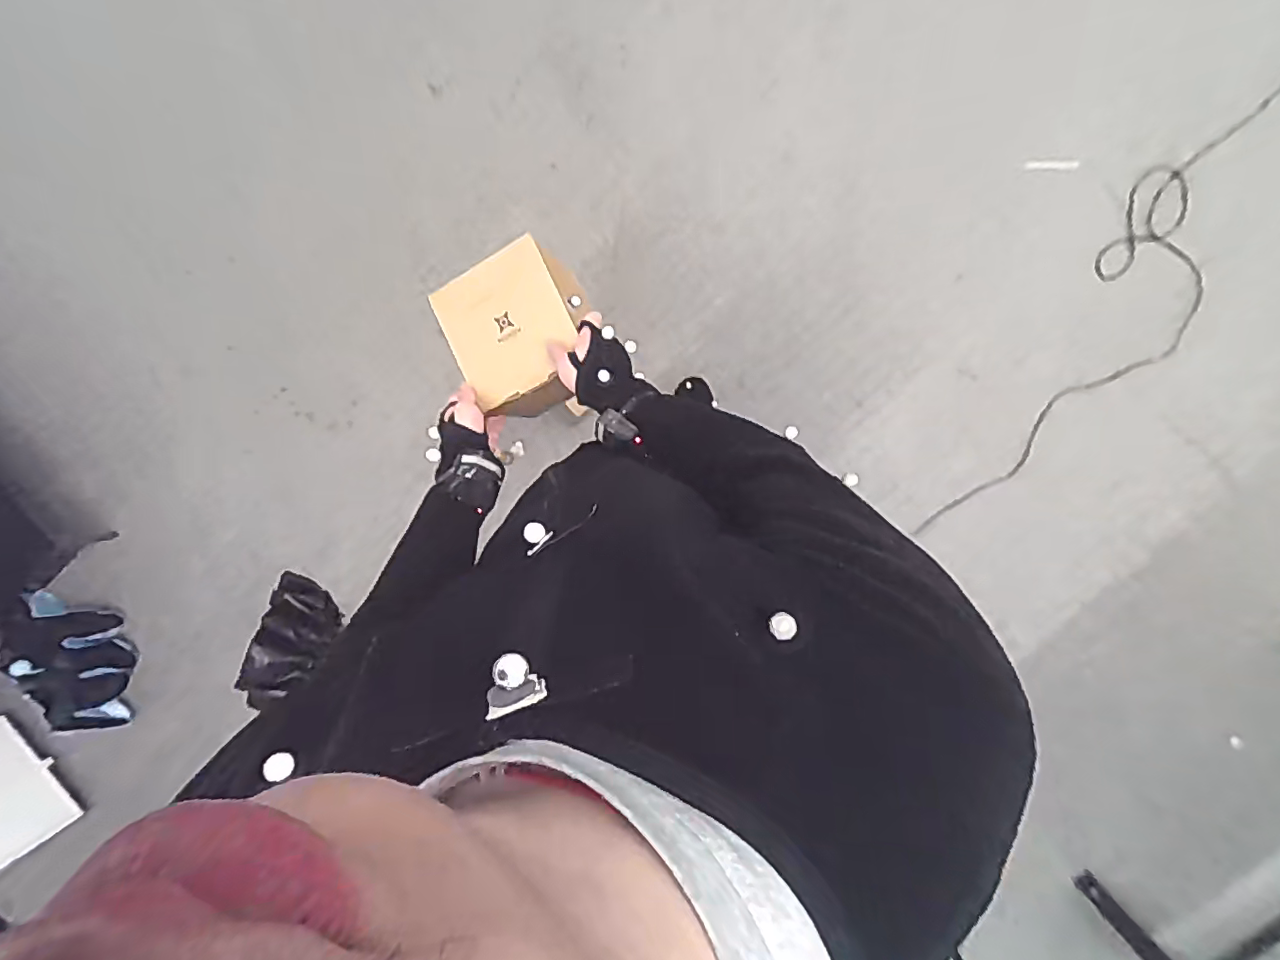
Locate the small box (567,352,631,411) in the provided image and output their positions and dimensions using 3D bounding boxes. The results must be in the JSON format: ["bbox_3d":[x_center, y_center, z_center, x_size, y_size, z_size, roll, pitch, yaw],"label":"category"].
[{"bbox_3d":[-0.143,-0.296,1.430,0.168,0.176,0.179,-43,93,8],"label":"small box"}]

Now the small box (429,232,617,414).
[{"bbox_3d":[-0.153,-0.206,0.767,0.168,0.176,0.179,-27,88,13],"label":"small box"}]
